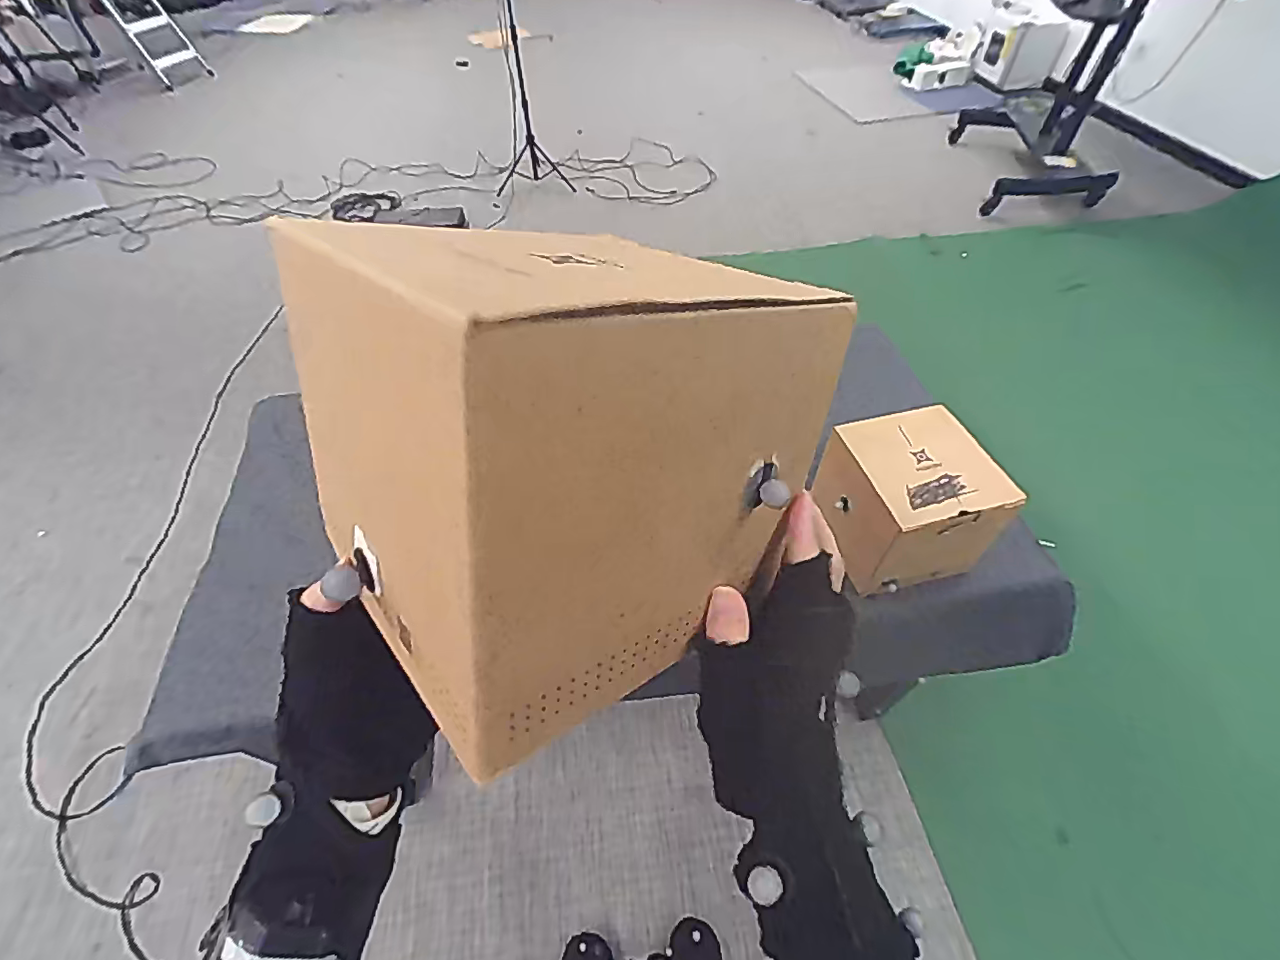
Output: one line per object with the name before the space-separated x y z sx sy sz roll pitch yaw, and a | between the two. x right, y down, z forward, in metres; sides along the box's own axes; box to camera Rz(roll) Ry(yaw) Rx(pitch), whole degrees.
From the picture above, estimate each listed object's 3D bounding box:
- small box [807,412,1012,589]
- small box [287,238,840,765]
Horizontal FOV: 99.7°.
small box | 0.355 0.035 0.753 0.168 0.176 0.179 -11 50 -7
small box | -0.038 -0.012 0.266 0.179 0.176 0.168 -21 40 -39
